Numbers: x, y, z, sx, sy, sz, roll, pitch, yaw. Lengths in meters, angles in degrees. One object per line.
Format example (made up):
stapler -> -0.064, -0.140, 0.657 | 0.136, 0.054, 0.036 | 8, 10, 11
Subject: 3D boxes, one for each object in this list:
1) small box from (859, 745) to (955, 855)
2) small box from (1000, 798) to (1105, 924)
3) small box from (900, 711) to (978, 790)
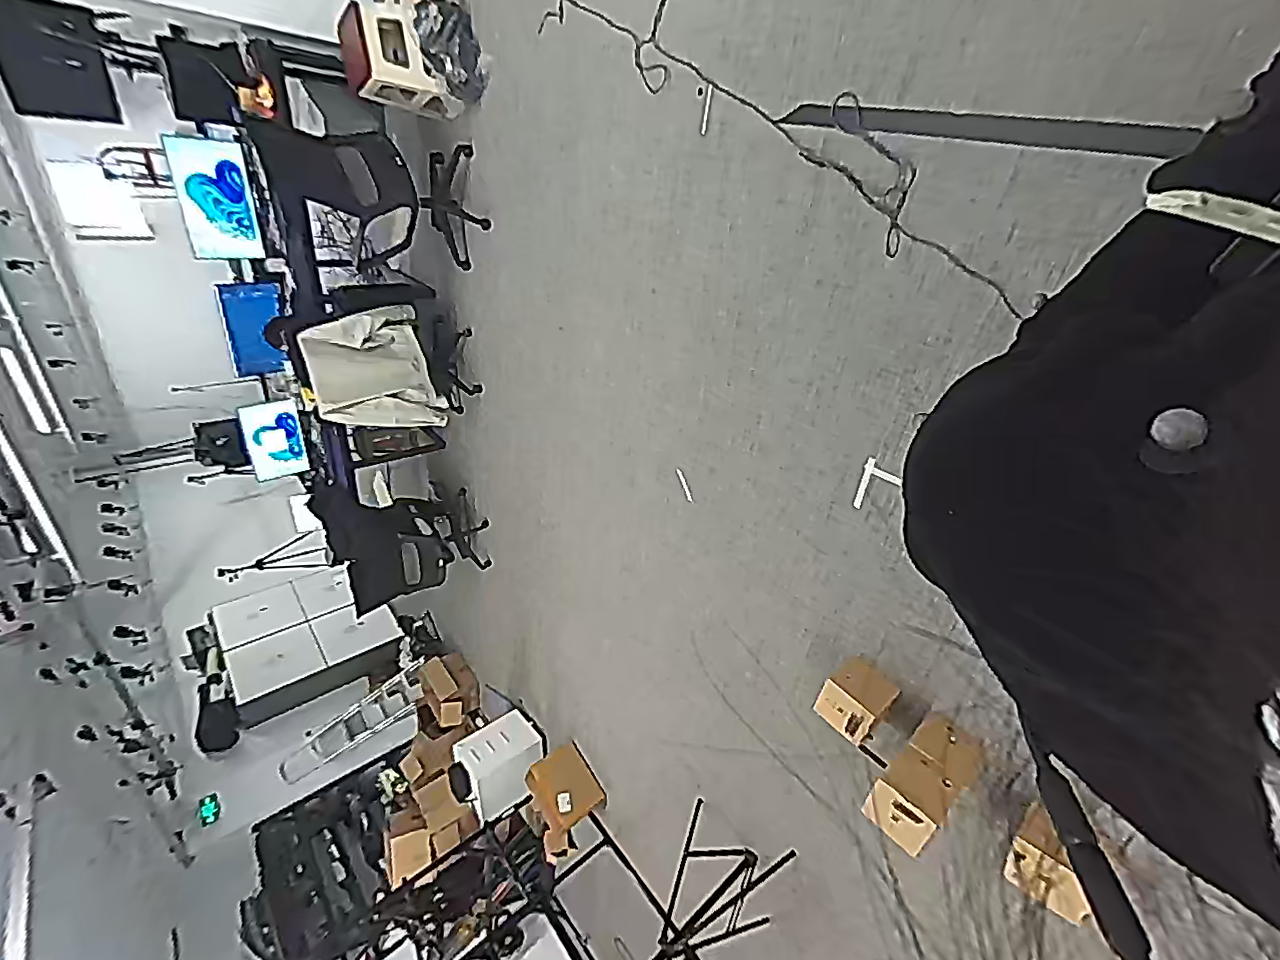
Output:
small box -> 0.758, 0.896, 1.531 | 0.168, 0.176, 0.179 | 34, 131, 38
small box -> 1.096, 0.998, 1.435 | 0.179, 0.176, 0.168 | 21, 121, 43
small box -> 0.879, 0.842, 1.628 | 0.168, 0.176, 0.179 | 37, 131, 35
